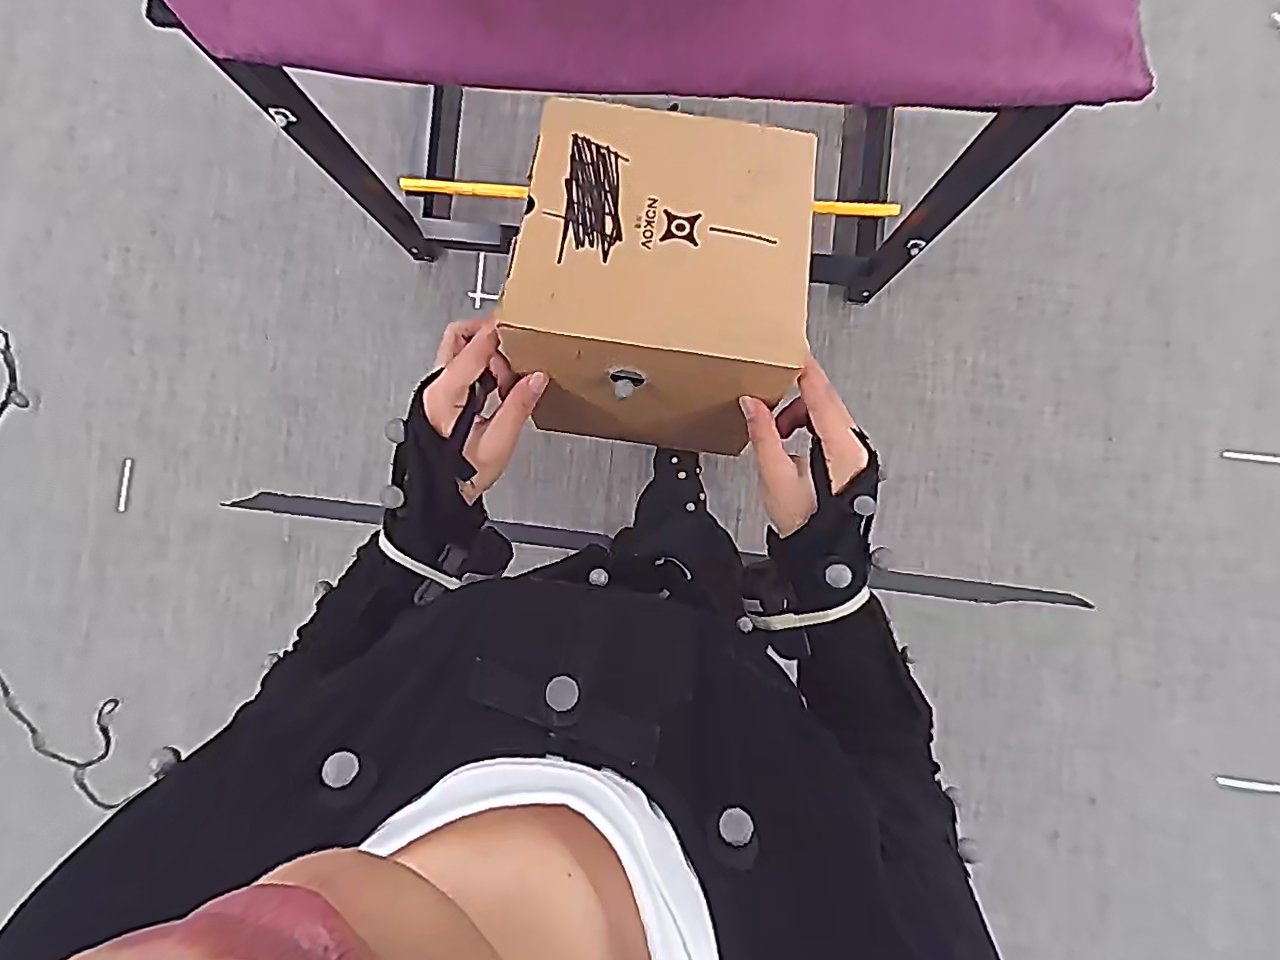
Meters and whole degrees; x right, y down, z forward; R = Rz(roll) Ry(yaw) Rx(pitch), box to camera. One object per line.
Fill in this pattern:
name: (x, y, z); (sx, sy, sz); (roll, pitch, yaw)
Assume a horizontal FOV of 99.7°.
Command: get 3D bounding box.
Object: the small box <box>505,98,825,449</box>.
small box: (0.018, -0.131, 0.397); (0.179, 0.176, 0.168); (8, 75, -1)
